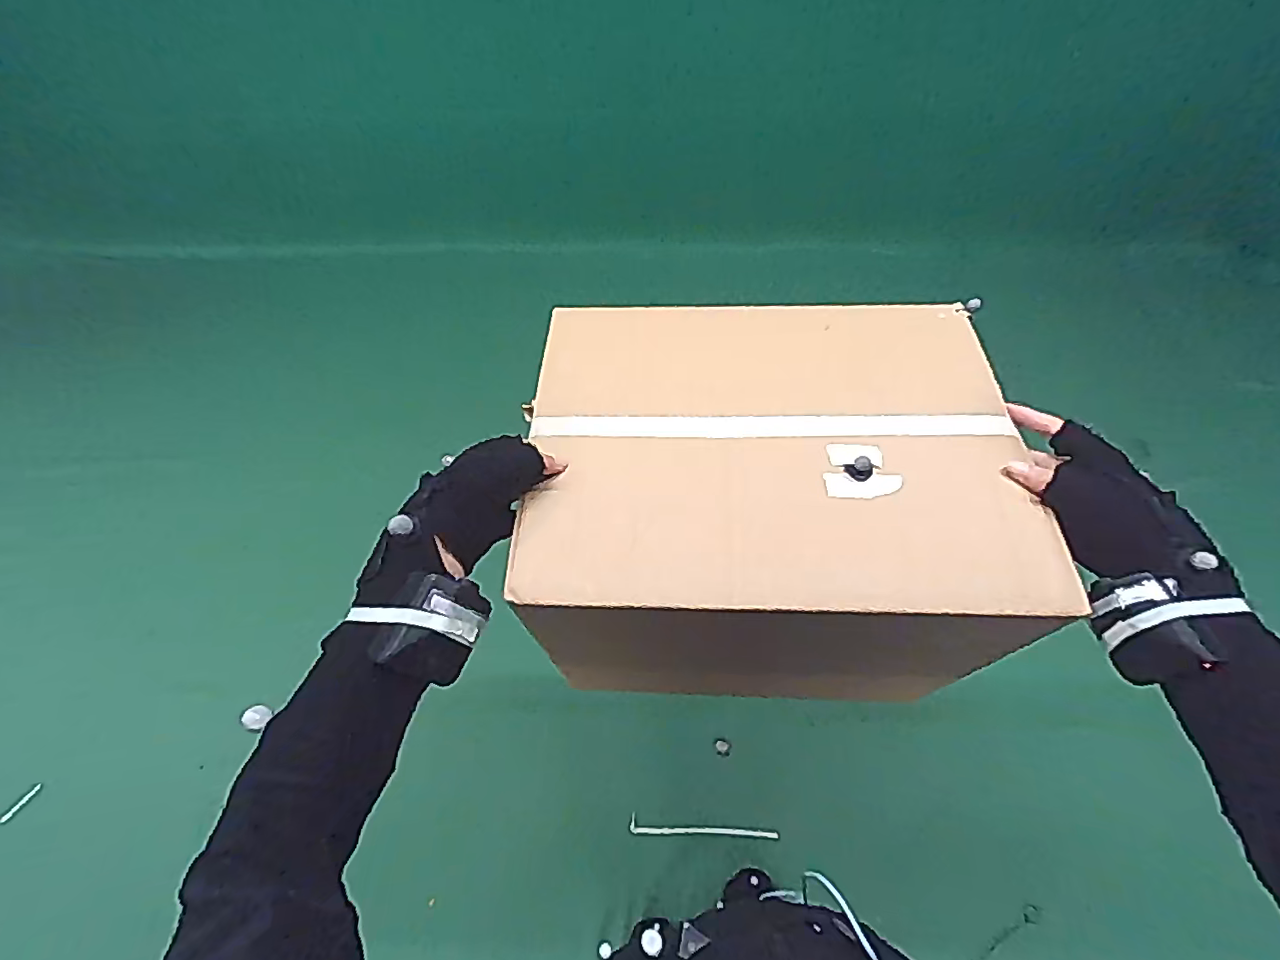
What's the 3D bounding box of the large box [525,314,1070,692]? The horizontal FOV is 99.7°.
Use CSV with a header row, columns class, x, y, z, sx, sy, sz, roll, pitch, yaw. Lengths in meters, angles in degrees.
class,x,y,z,sx,sy,sz,roll,pitch,yaw
large box,0.117,0.040,0.596,0.408,0.320,0.320,1,58,3
